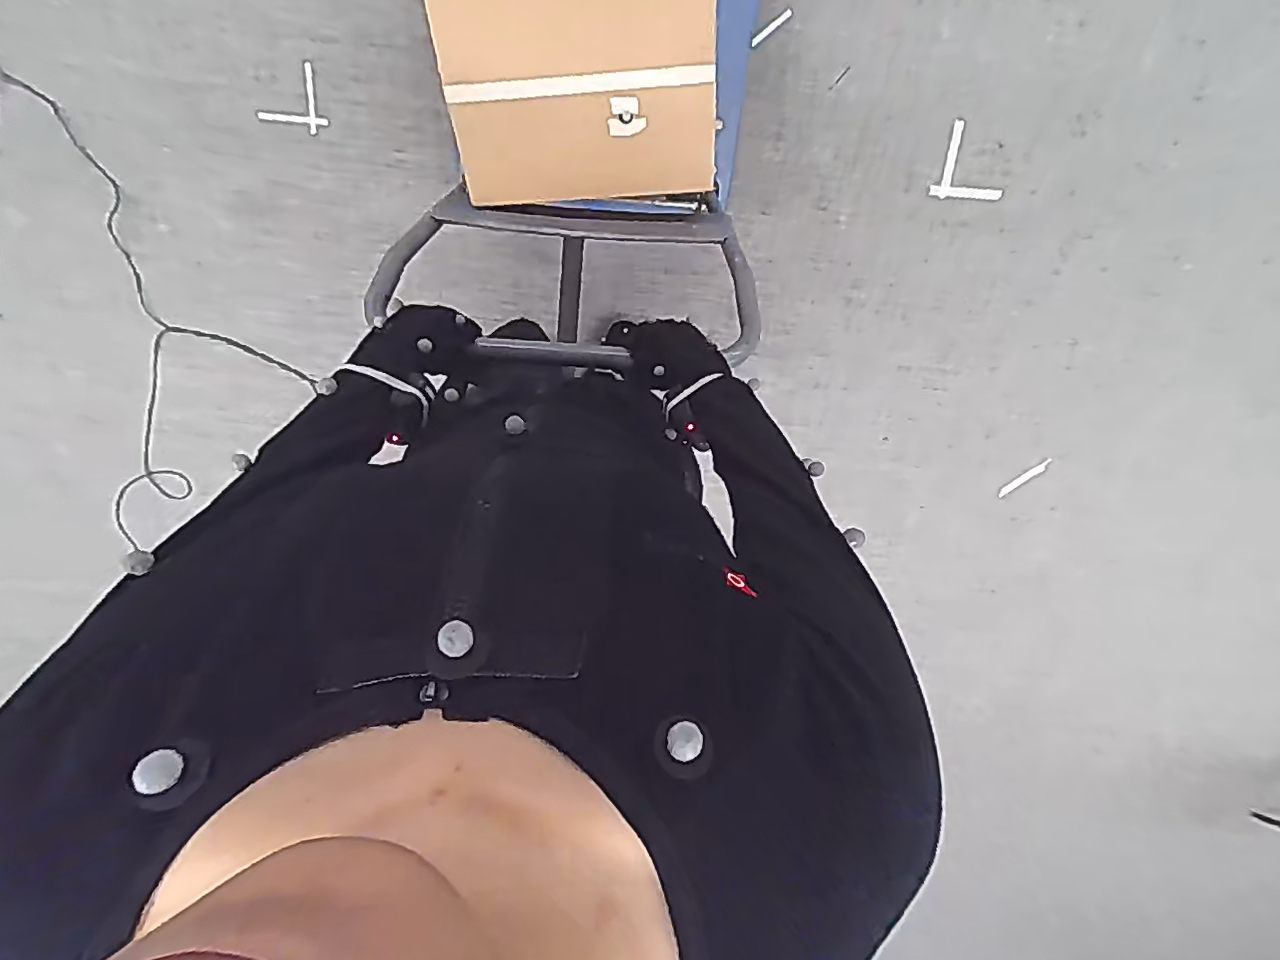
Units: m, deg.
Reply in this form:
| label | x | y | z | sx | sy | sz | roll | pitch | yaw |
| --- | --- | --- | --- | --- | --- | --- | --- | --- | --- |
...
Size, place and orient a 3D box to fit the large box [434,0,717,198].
| label | x | y | z | sx | sy | sz | roll | pitch | yaw |
| --- | --- | --- | --- | --- | --- | --- | --- | --- | --- |
| large box | -0.089 | -0.701 | 0.929 | 0.408 | 0.320 | 0.320 | -4 | 128 | 1 |
